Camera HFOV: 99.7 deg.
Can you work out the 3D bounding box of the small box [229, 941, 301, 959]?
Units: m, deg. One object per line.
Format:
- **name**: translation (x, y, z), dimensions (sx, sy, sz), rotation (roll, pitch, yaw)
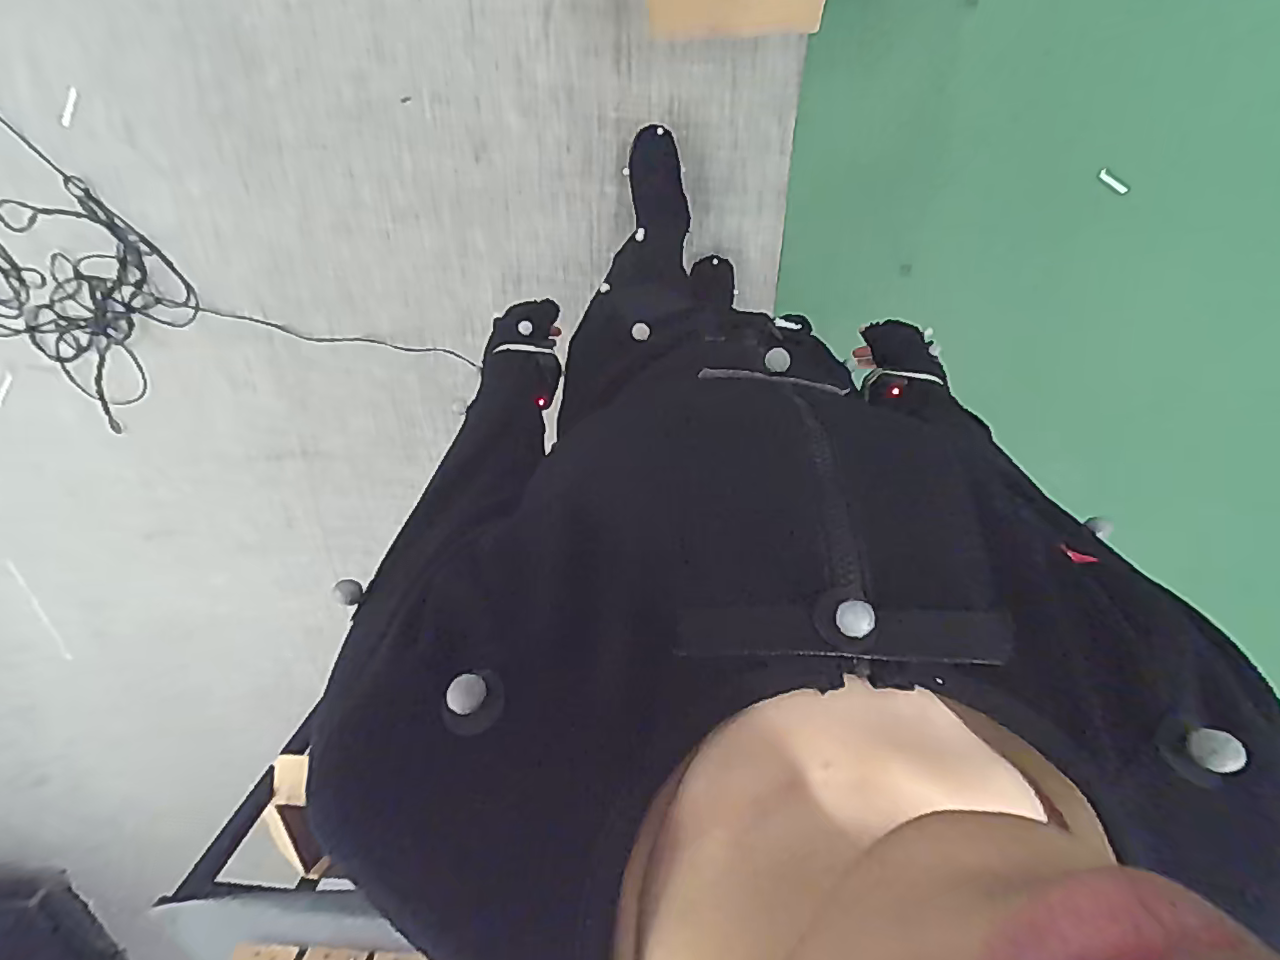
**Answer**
- **small box**: translation (-1.007, 1.357, 1.414), dimensions (0.168, 0.176, 0.179), rotation (3, 116, 3)
